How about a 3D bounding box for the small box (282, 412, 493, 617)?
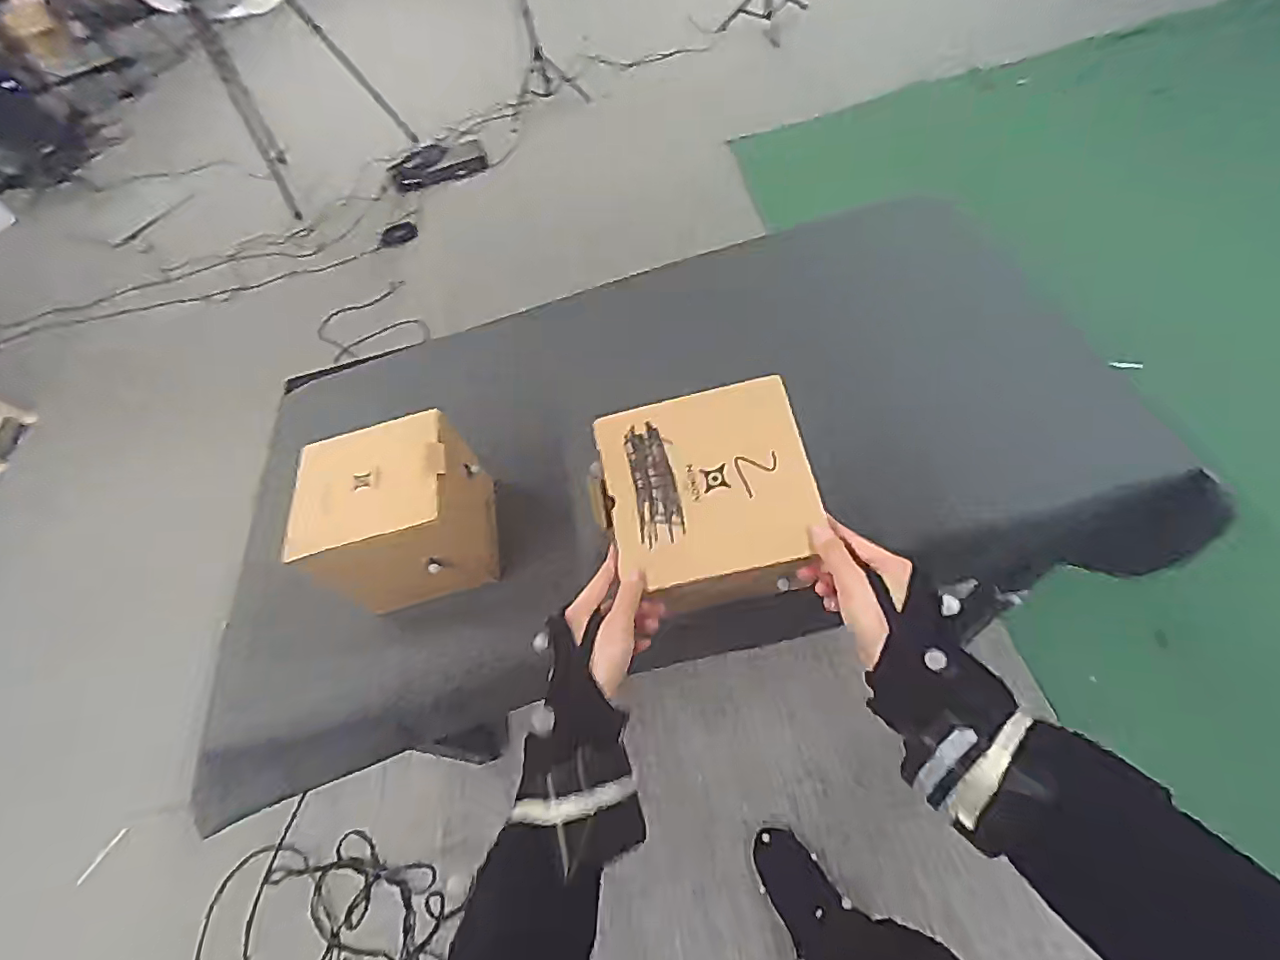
[{"bbox_3d":[-0.293,0.049,0.672,0.179,0.176,0.168,-17,54,2],"label":"small box"}]
